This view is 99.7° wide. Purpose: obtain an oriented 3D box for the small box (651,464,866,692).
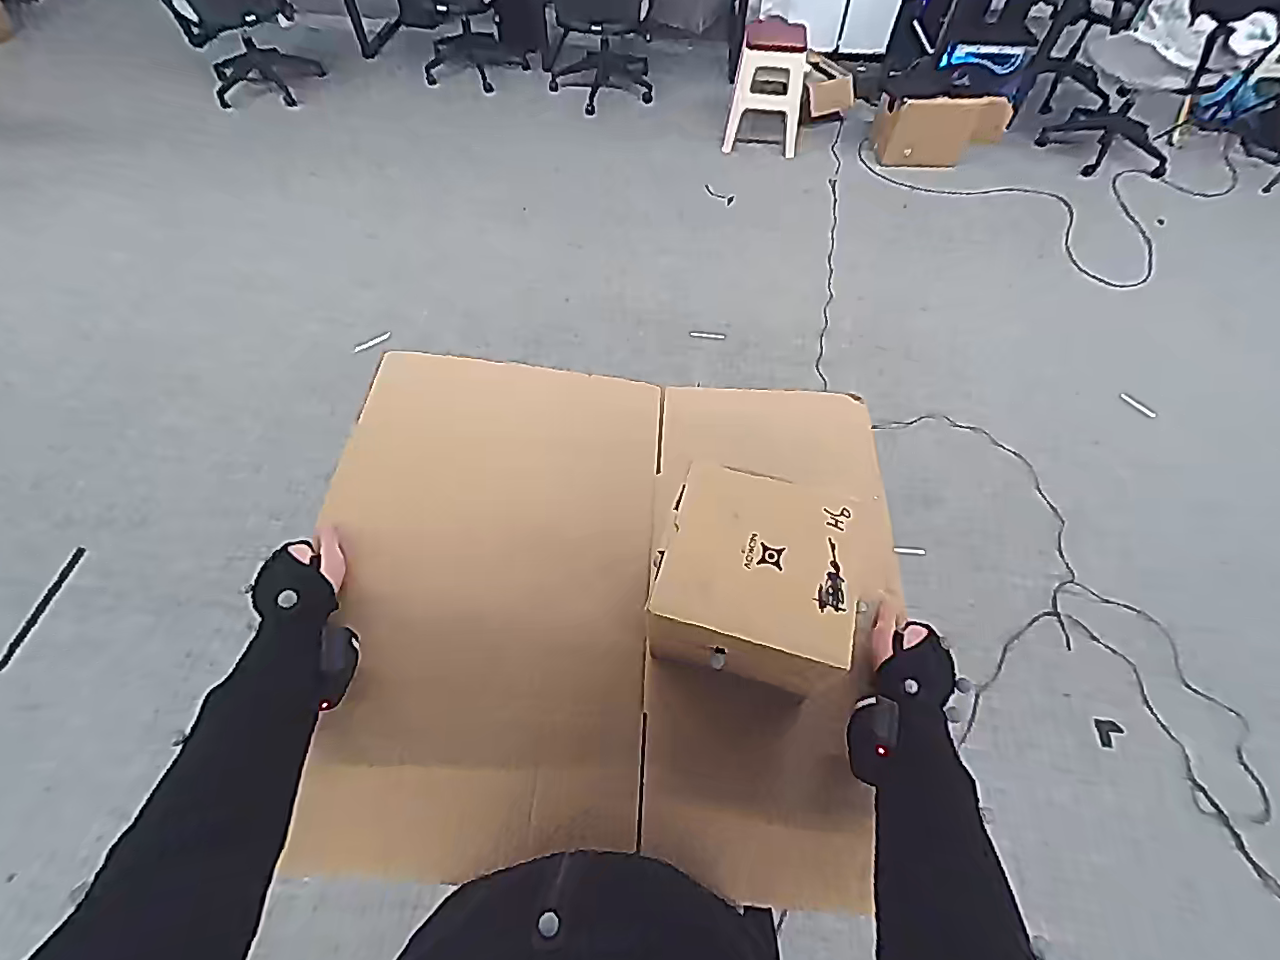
[{"bbox_3d":[0.120,0.109,0.573,0.179,0.176,0.168,13,61,11],"label":"small box"}]
